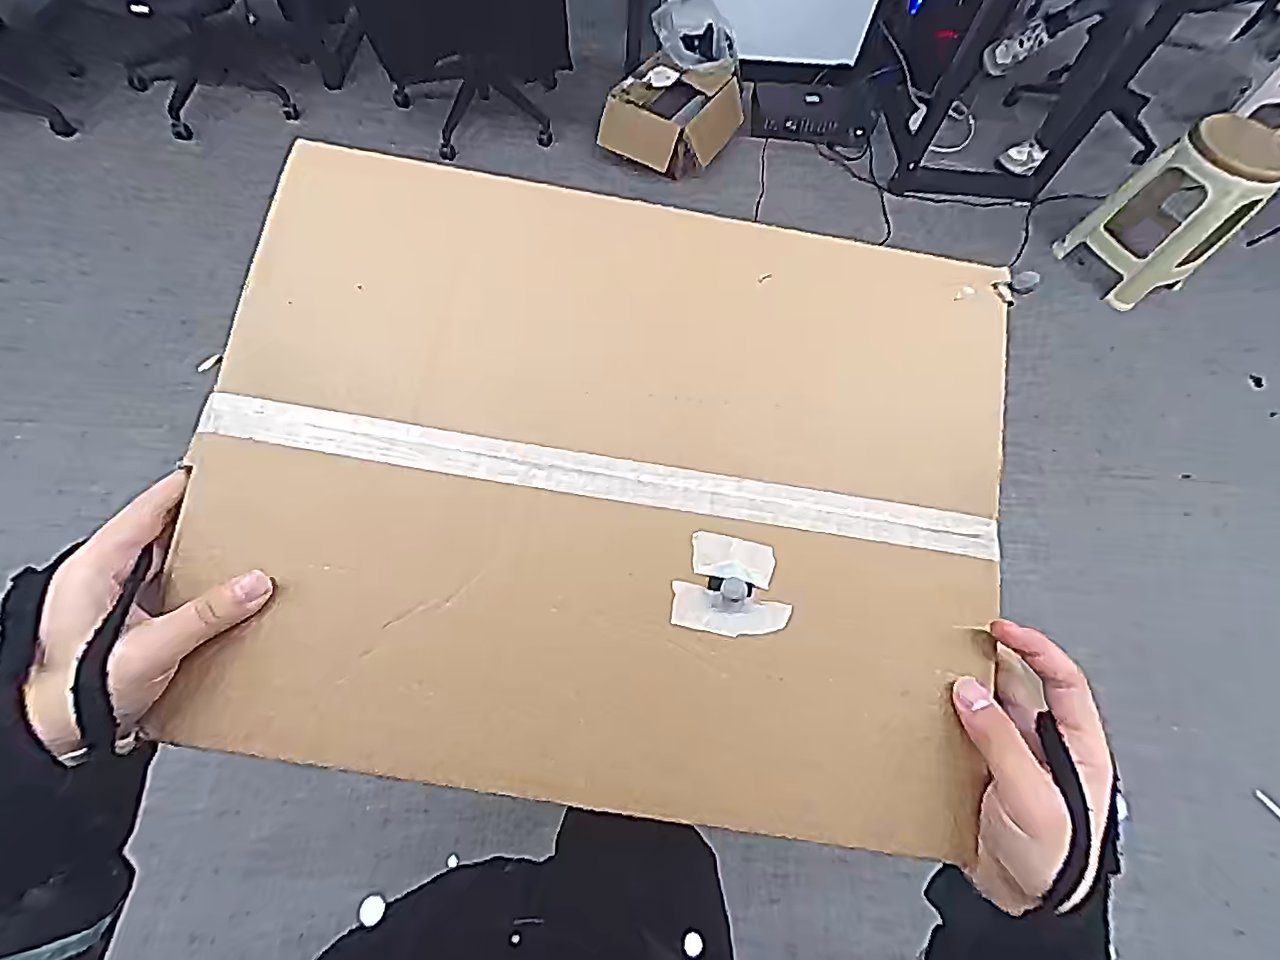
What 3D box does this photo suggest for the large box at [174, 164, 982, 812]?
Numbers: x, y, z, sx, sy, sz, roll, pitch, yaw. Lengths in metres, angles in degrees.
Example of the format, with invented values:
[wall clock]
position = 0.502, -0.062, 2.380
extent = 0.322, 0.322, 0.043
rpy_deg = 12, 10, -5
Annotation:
[large box]
position = -0.021, 0.016, 0.441
extent = 0.408, 0.320, 0.320
rpy_deg = 10, 81, -2
